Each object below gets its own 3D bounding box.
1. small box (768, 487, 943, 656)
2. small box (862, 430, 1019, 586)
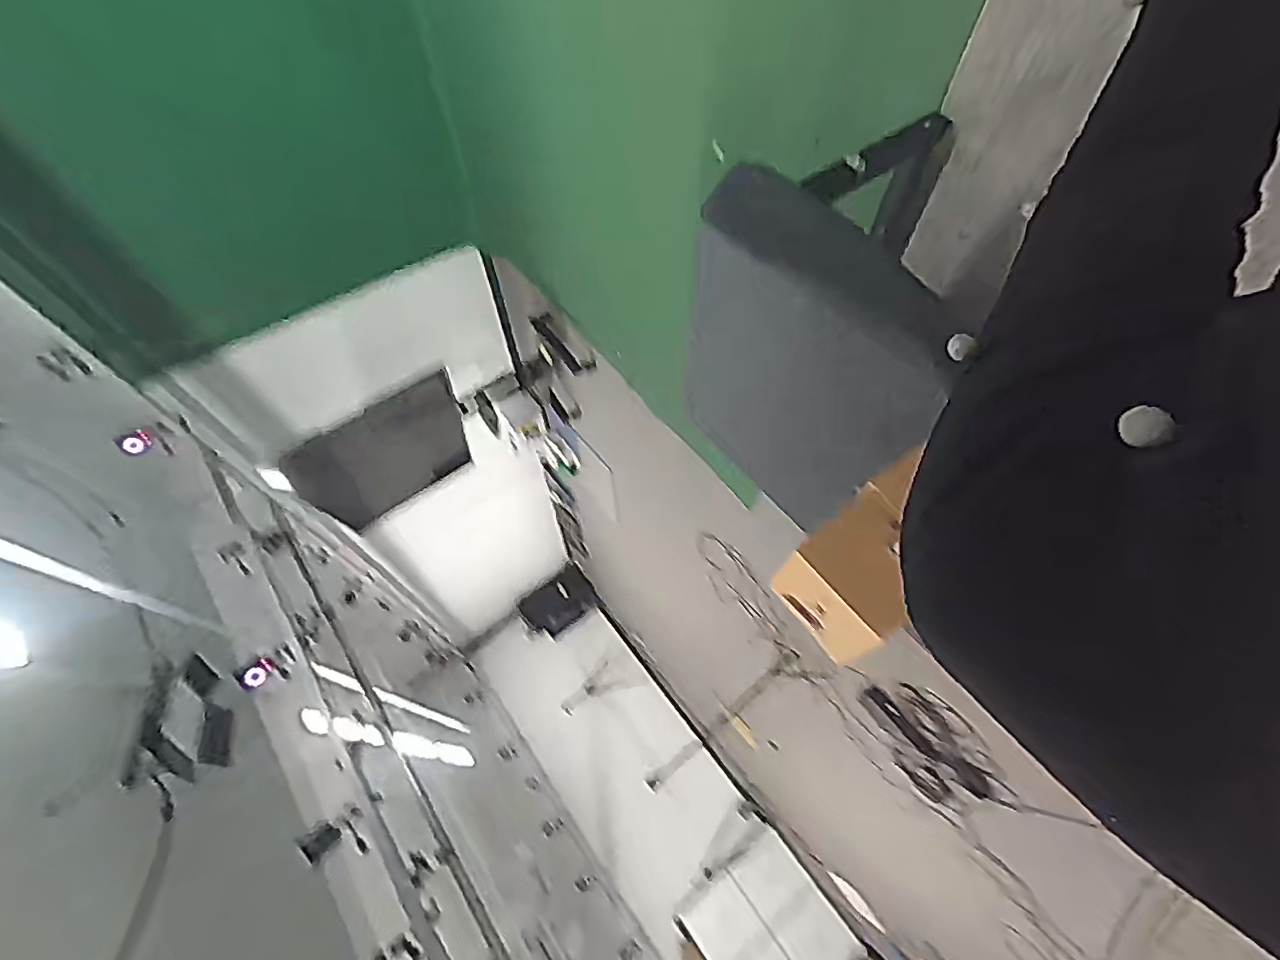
[{"bbox_3d":[0.329,0.144,0.845,0.168,0.176,0.179,49,164,25],"label":"small box"},{"bbox_3d":[0.460,0.052,0.883,0.179,0.176,0.168,50,162,20],"label":"small box"}]
